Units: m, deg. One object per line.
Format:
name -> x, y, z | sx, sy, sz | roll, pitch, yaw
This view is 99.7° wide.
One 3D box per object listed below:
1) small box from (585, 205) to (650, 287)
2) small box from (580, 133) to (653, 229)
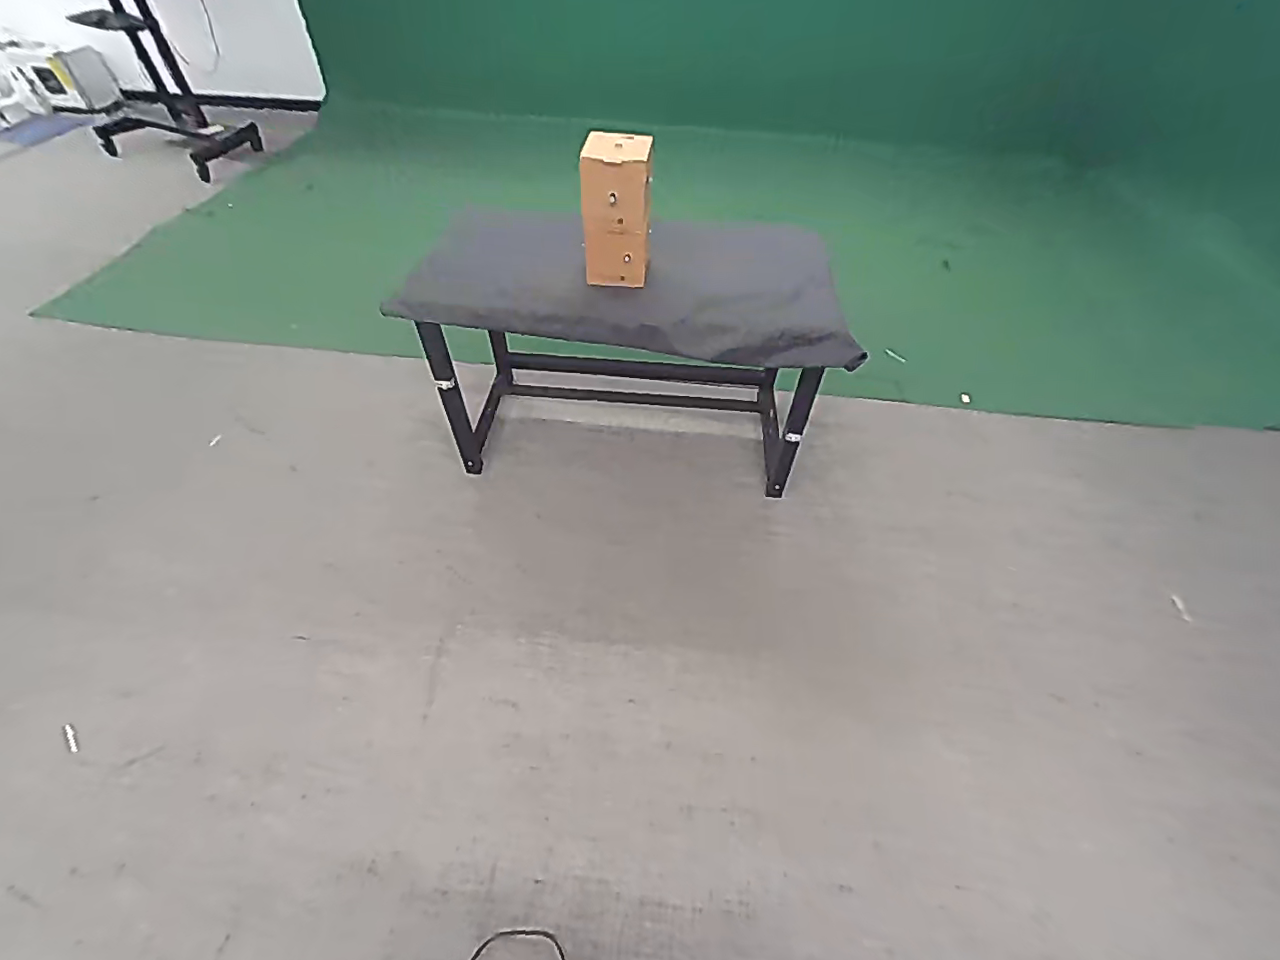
small box -> -0.061, -0.671, 1.540 | 0.168, 0.176, 0.179 | 5, 49, 1
small box -> -0.058, -0.780, 1.418 | 0.168, 0.176, 0.179 | 7, 51, 1
